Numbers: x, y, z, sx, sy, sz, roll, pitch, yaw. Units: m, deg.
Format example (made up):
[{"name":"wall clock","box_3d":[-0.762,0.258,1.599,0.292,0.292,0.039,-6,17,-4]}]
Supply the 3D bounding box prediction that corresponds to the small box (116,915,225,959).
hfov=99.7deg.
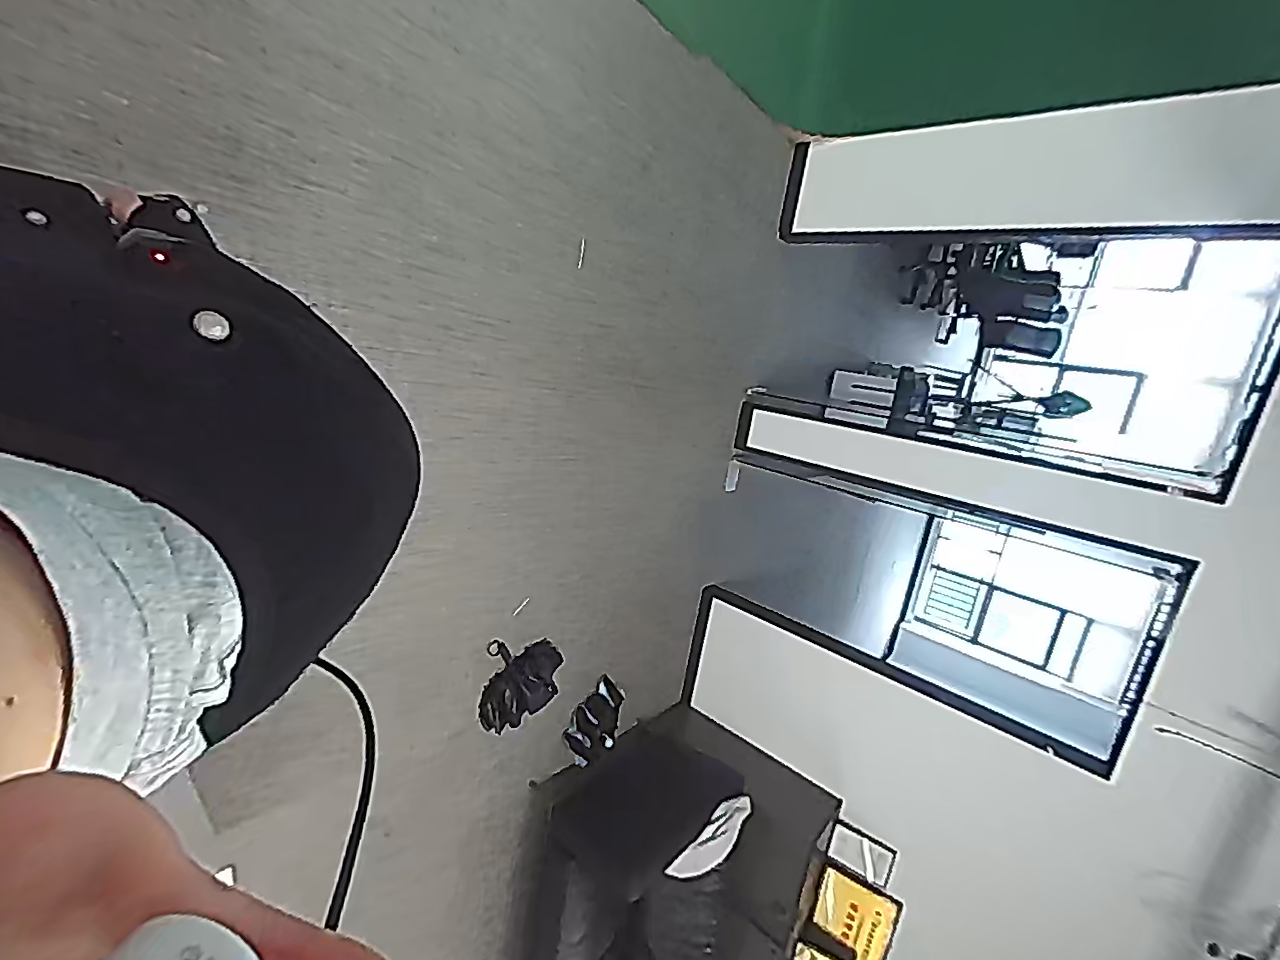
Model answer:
[{"name":"small box","box_3d":[-0.793,0.895,0.899,0.168,0.176,0.179,-11,115,-49]}]
